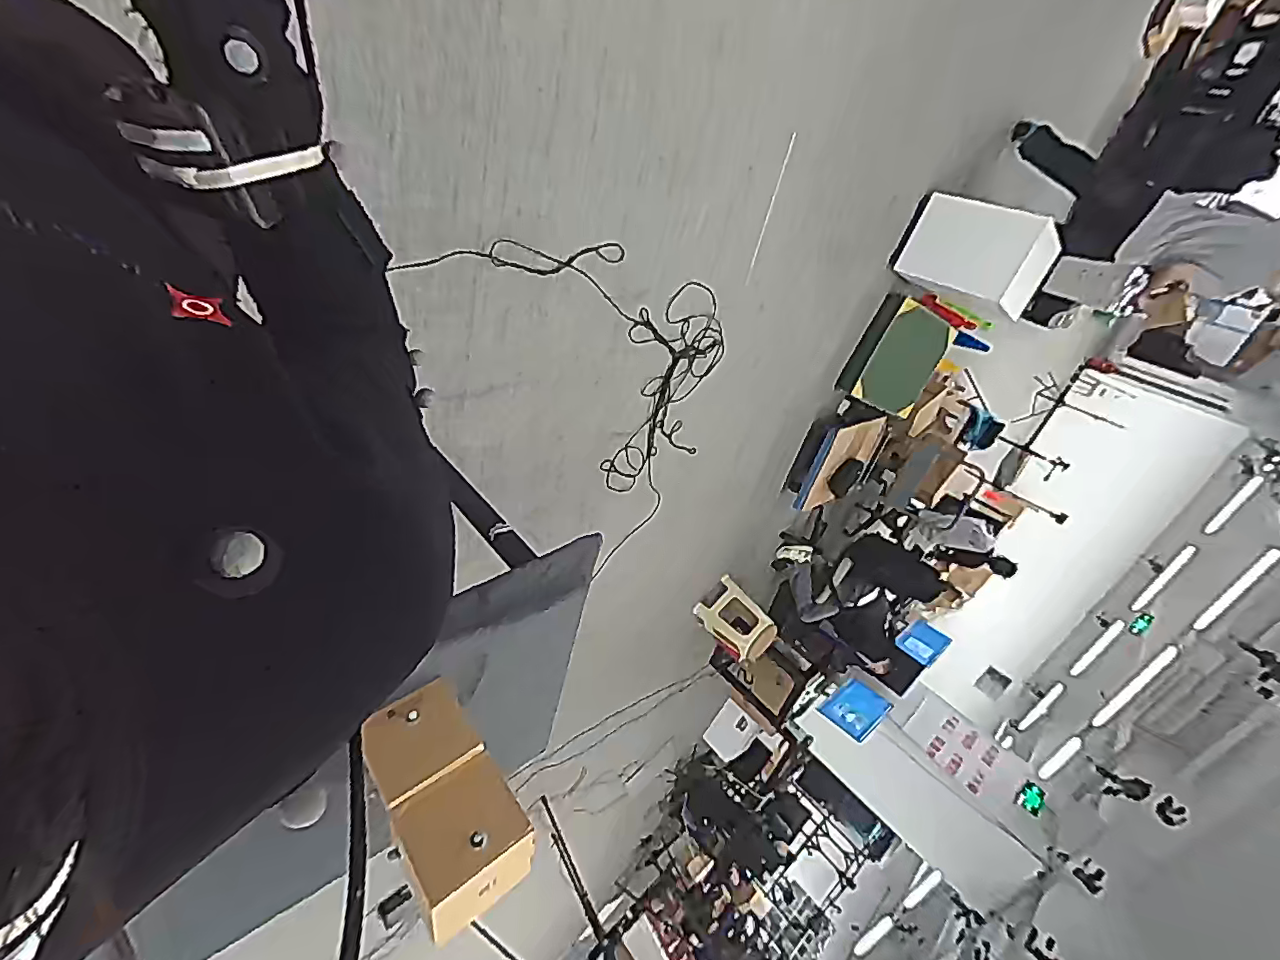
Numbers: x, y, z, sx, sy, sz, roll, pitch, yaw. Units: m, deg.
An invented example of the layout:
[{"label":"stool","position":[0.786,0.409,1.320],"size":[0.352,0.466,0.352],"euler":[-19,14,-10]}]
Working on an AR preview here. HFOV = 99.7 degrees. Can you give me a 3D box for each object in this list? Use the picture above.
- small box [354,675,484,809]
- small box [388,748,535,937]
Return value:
[{"label":"small box","position":[-0.400,0.499,0.994],"size":[0.168,0.176,0.179],"euler":[-24,137,-36]},{"label":"small box","position":[-0.299,0.596,0.911],"size":[0.179,0.176,0.168],"euler":[-20,134,-38]}]
